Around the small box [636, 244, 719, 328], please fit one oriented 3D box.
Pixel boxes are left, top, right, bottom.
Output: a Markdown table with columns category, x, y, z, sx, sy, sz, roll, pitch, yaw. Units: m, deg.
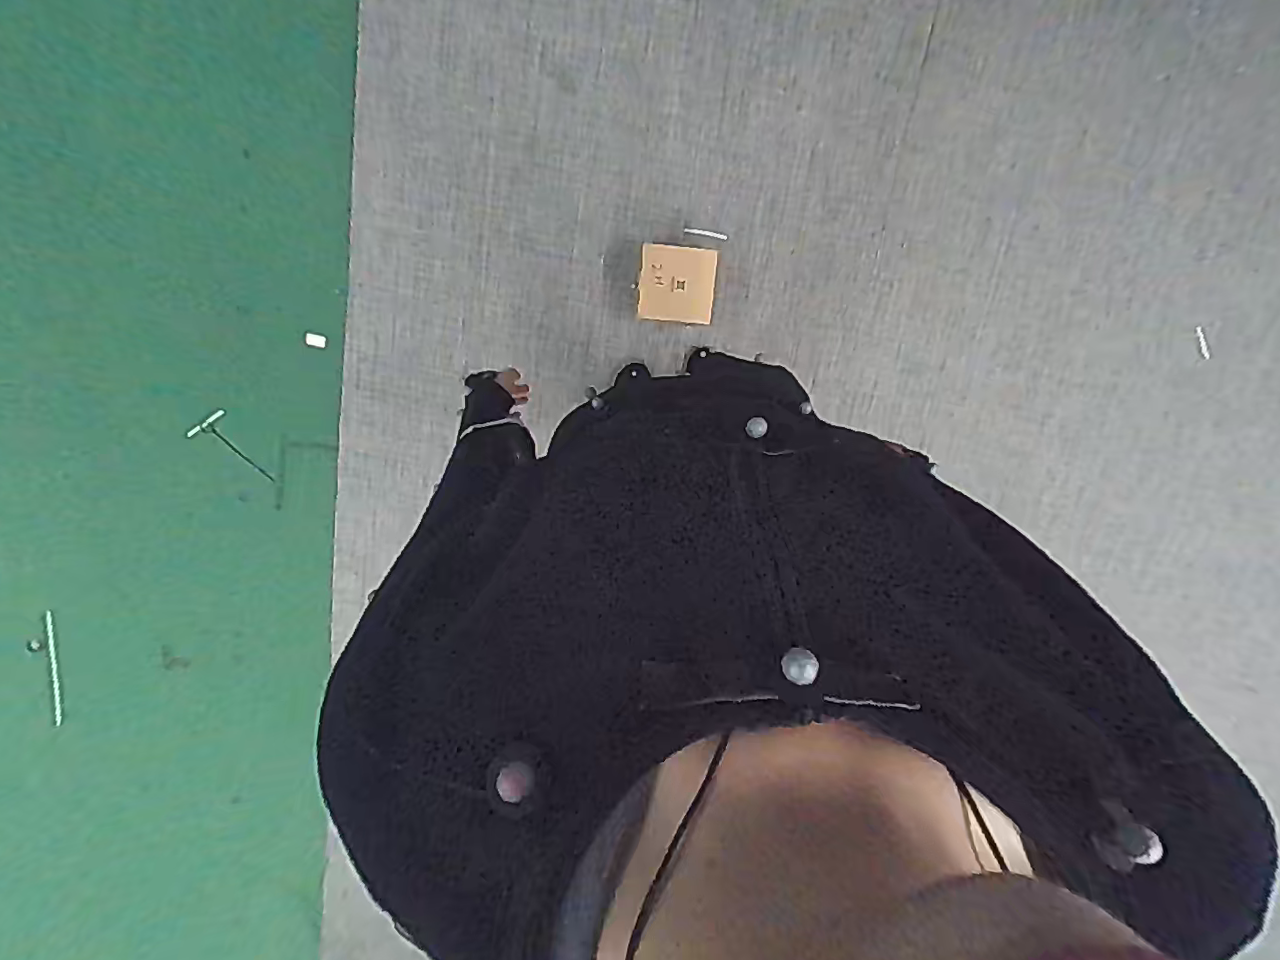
| category | x | y | z | sx | sy | sz | roll | pitch | yaw |
| --- | --- | --- | --- | --- | --- | --- | --- | --- | --- |
| small box | 0.086 | -0.467 | 1.326 | 0.179 | 0.176 | 0.168 | 5 | 102 | -2 |
